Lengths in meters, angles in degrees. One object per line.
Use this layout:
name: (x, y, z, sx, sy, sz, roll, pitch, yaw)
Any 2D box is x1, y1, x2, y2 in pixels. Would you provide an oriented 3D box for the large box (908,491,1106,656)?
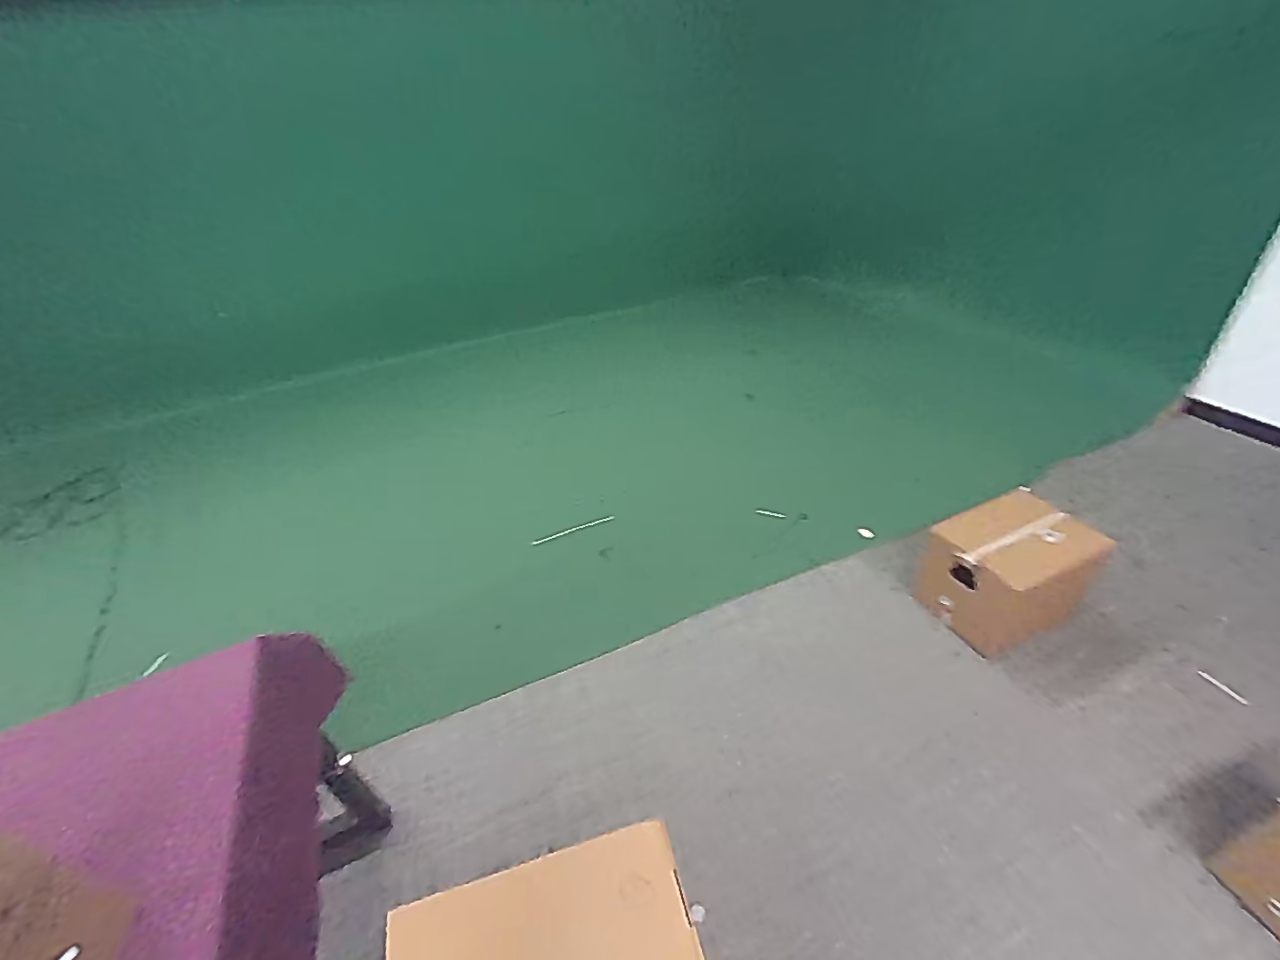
large box: (1.154, 0.292, 1.742, 0.408, 0.320, 0.320, -18, 38, -16)
